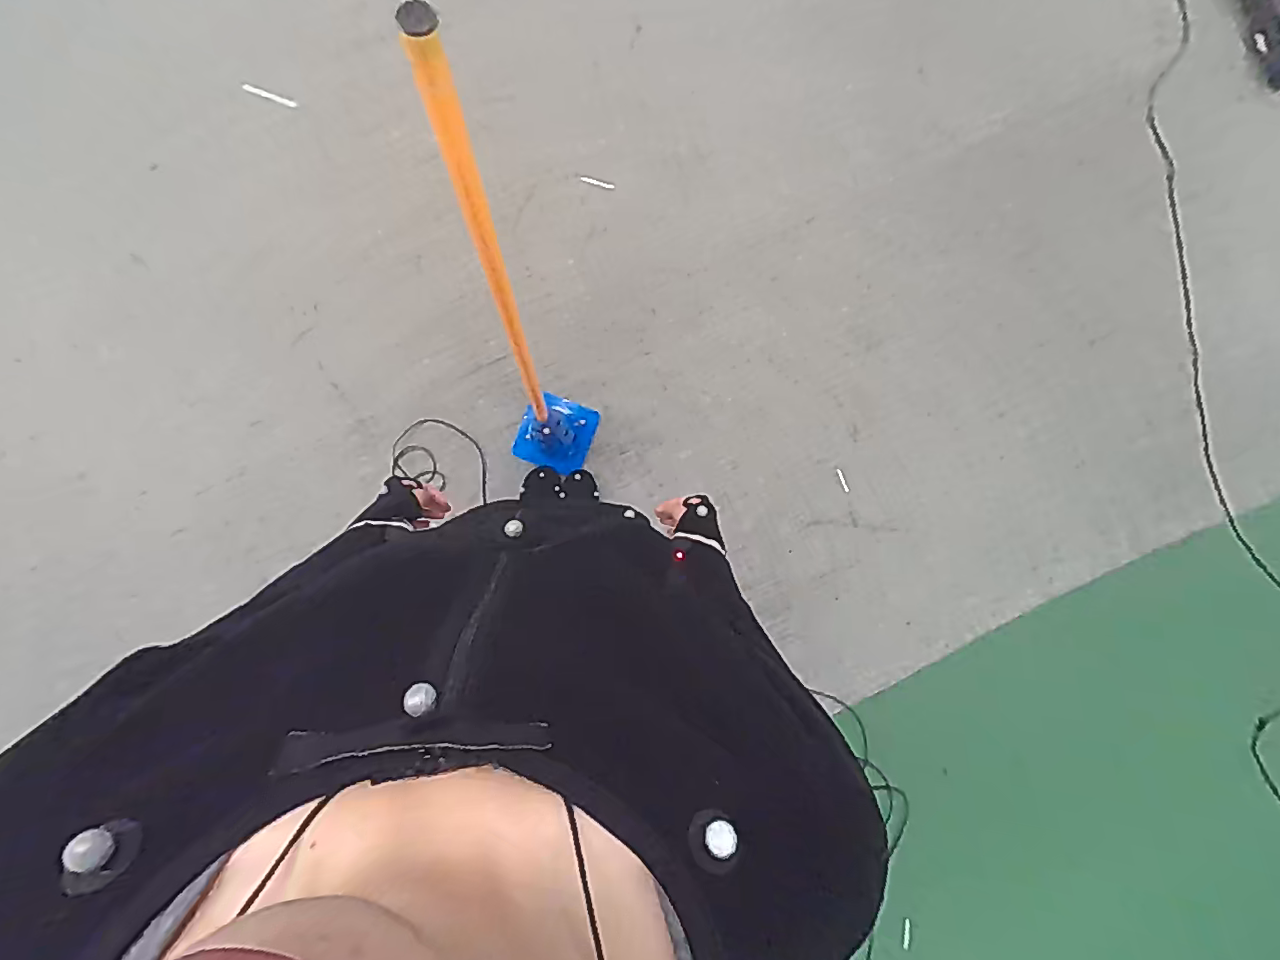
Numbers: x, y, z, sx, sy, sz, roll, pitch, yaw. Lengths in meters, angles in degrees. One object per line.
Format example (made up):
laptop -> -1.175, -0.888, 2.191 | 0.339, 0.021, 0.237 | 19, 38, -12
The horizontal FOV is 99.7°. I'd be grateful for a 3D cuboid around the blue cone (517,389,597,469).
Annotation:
blue cone -> -0.214, -0.145, 1.311 | 0.192, 0.380, 0.193 | 20, 87, -4
